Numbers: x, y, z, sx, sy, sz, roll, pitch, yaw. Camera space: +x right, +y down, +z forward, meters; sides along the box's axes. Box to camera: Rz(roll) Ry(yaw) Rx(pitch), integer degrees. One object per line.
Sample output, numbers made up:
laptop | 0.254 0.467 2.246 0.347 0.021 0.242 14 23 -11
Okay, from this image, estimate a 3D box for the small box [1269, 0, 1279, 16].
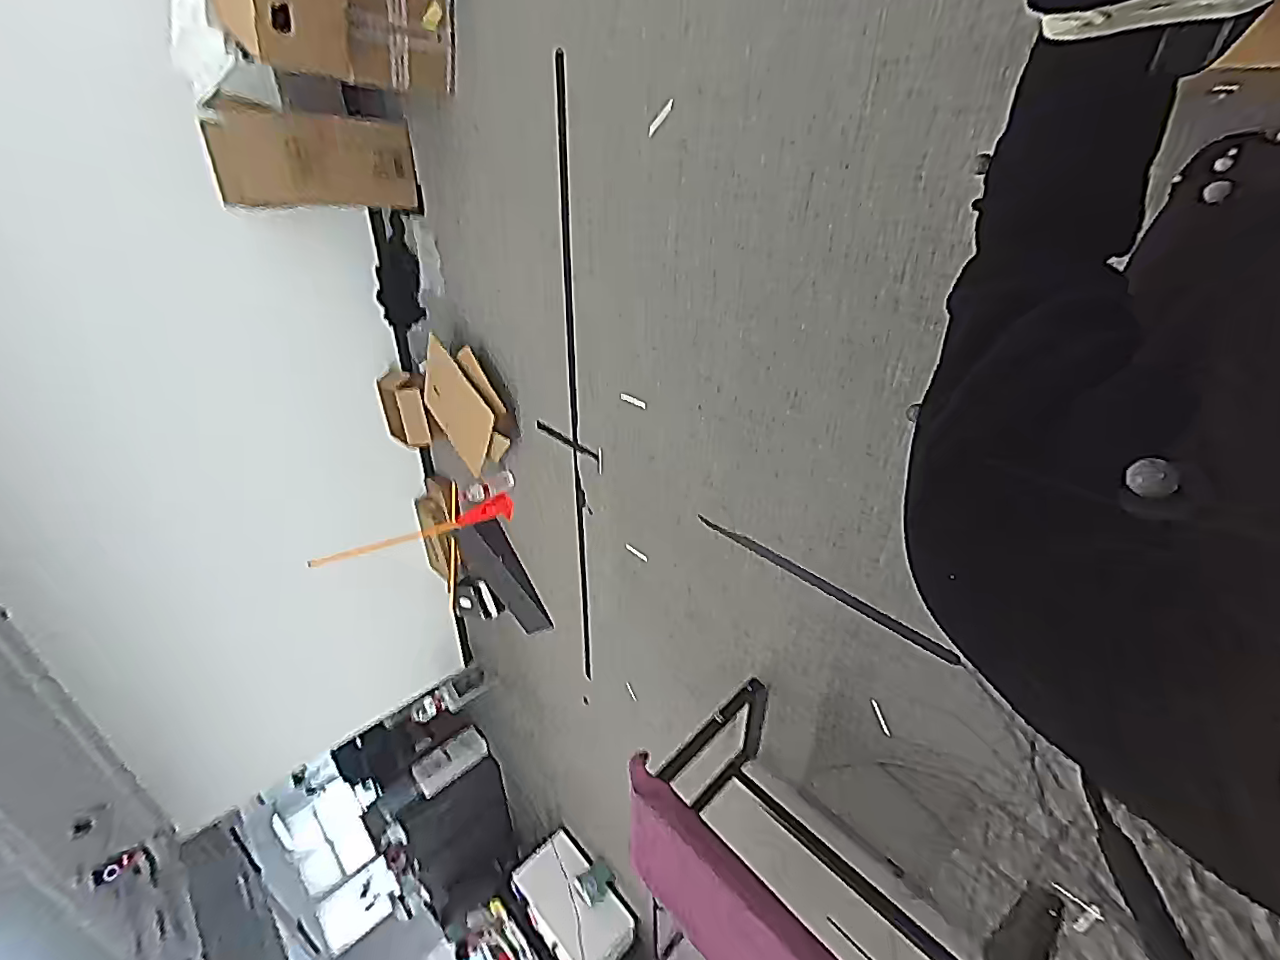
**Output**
small box | 0.812 -0.605 0.557 0.179 0.176 0.168 28 131 37
